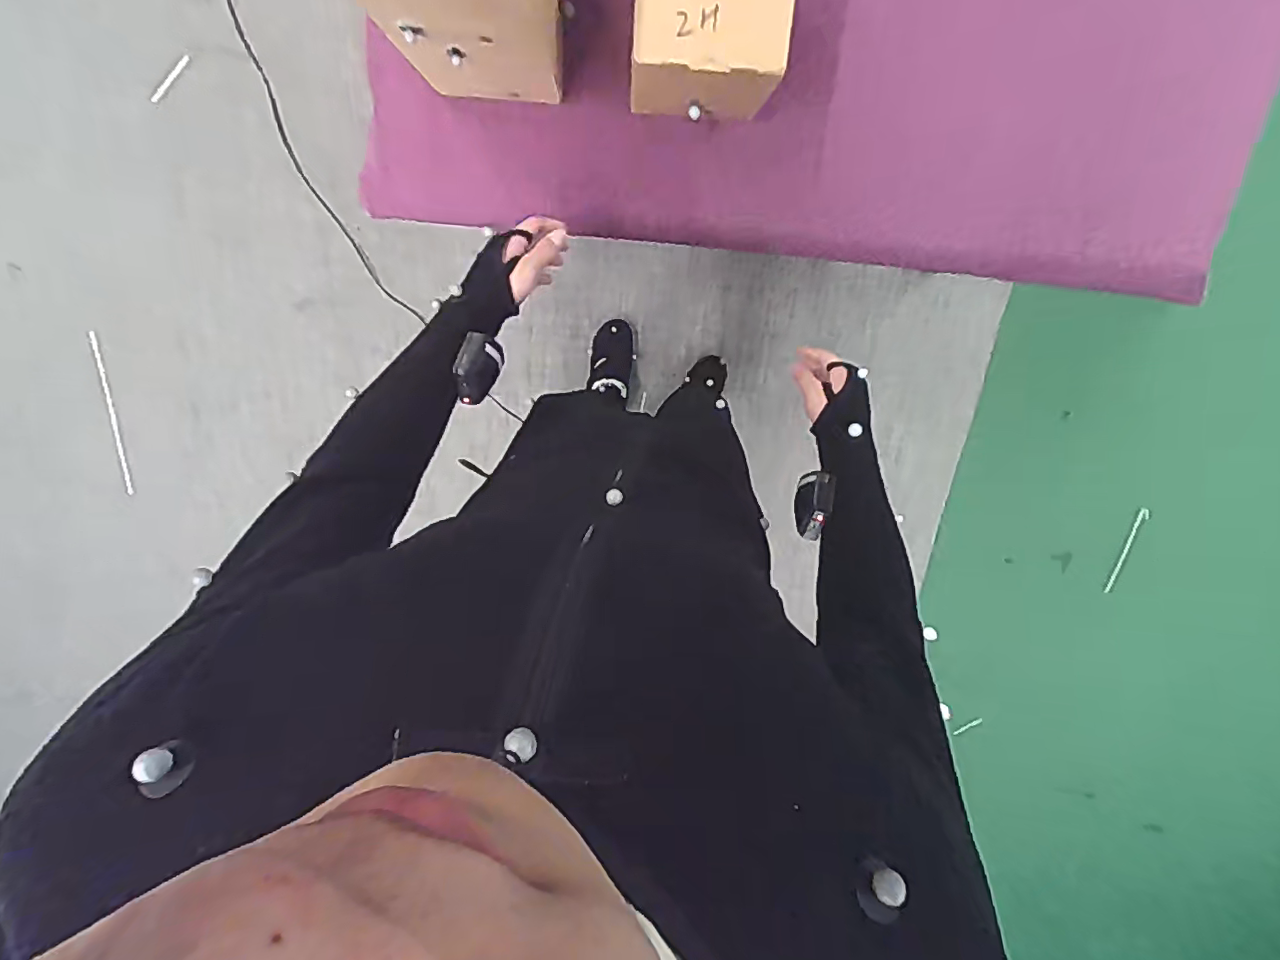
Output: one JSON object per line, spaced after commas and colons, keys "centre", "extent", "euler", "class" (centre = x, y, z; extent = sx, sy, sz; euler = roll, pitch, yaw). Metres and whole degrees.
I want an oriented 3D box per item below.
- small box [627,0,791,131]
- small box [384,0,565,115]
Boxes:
{"centre": [0.072, -0.536, 0.627], "extent": [0.168, 0.176, 0.179], "euler": [3, 108, -3], "class": "small box"}
{"centre": [-0.178, -0.550, 0.615], "extent": [0.168, 0.176, 0.179], "euler": [3, 108, -2], "class": "small box"}
